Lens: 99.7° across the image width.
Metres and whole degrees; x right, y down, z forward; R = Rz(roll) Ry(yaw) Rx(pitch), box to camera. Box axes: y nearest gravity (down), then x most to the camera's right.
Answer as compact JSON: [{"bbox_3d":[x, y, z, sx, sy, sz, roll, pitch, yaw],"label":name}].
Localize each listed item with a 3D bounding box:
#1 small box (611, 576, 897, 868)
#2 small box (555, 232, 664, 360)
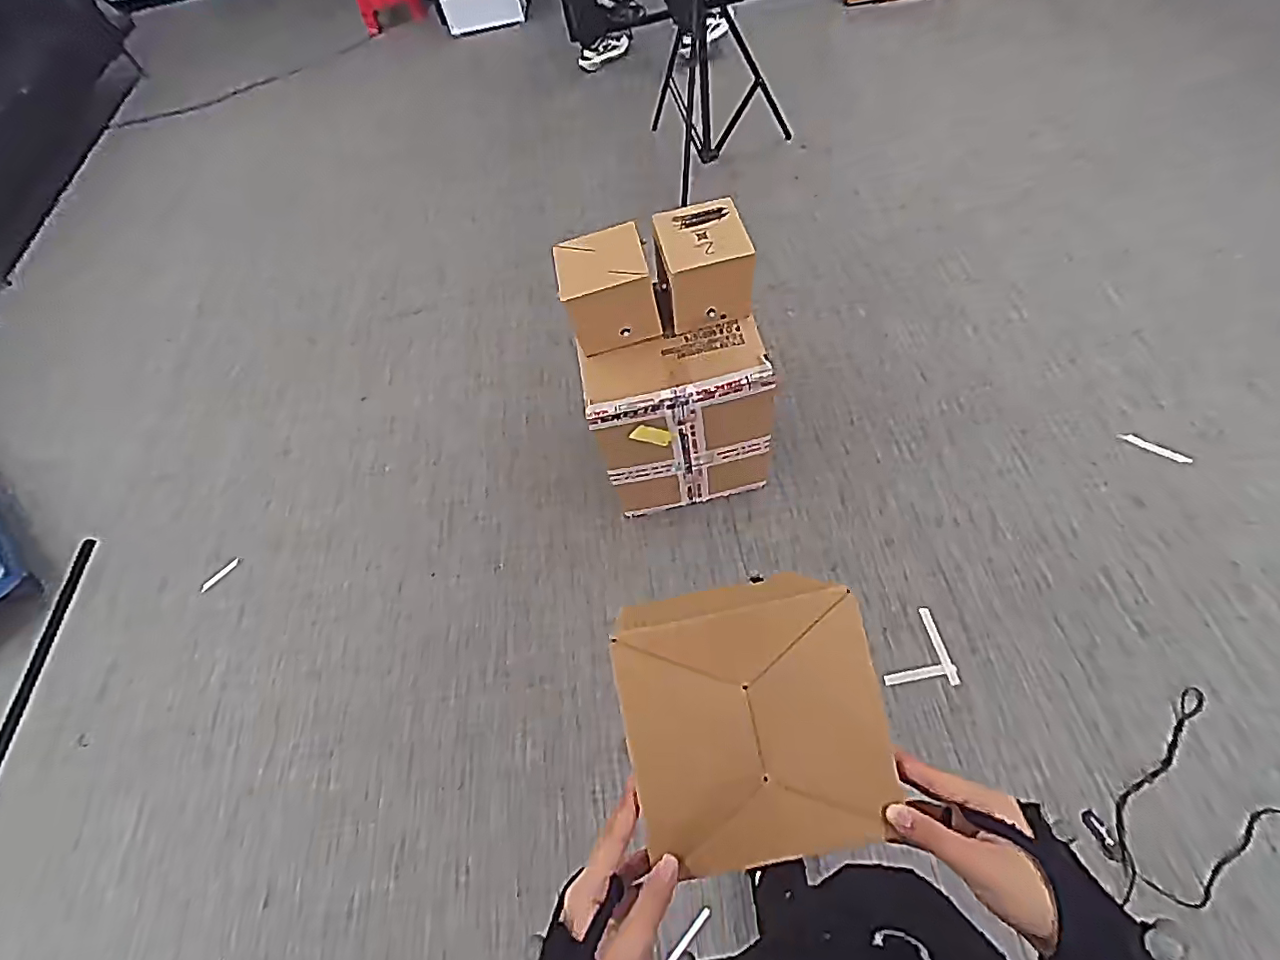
[{"bbox_3d":[0.077,0.182,0.451,0.179,0.176,0.168,-12,84,1],"label":"small box"},{"bbox_3d":[-0.062,-0.385,1.132,0.179,0.176,0.168,-14,60,4],"label":"small box"}]
